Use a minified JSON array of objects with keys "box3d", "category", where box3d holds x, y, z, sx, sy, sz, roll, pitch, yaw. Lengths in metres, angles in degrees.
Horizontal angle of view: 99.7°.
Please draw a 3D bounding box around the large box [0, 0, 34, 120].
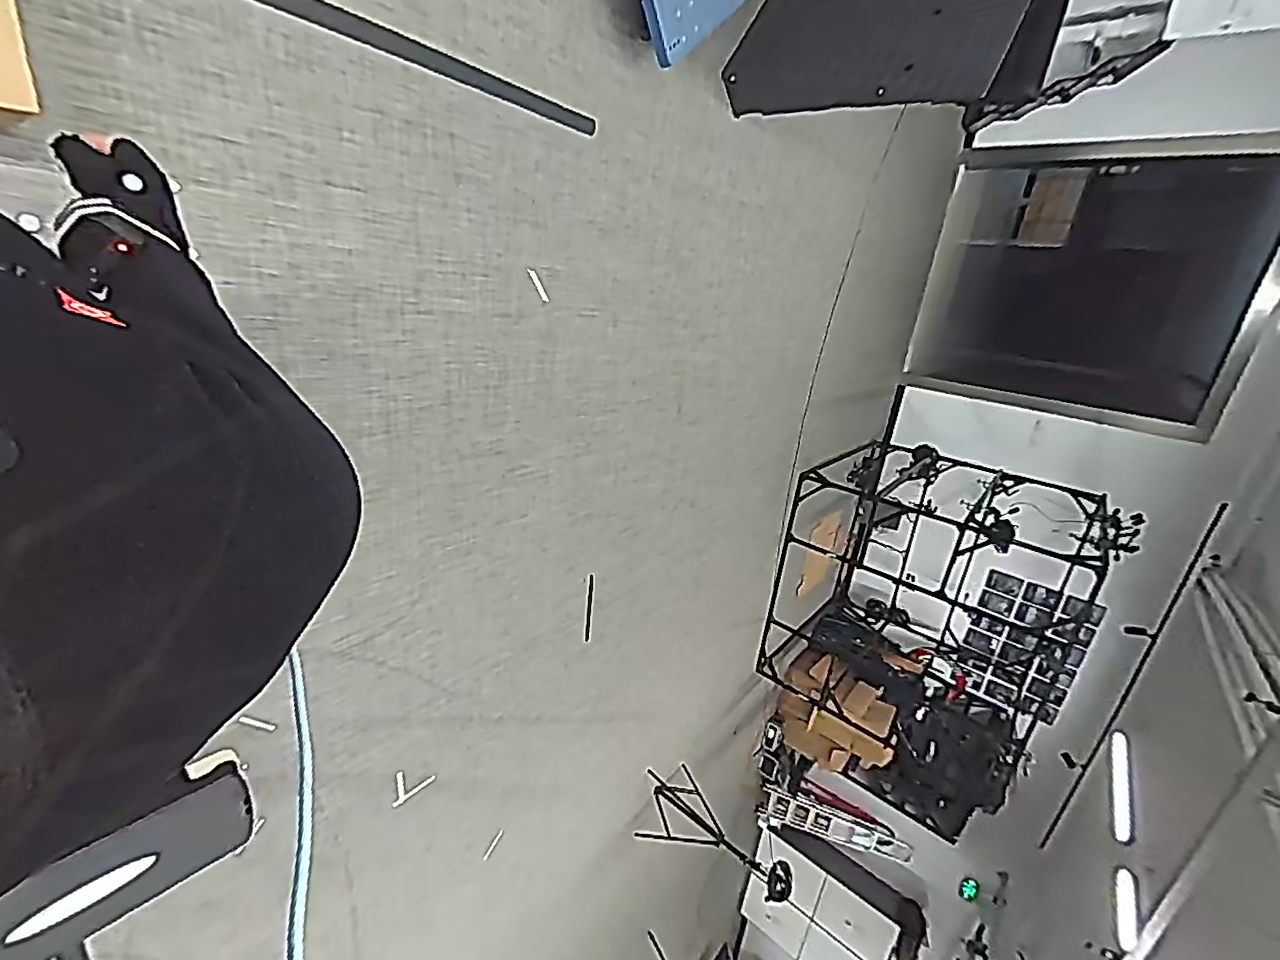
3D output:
[{"box3d":[-1.063,-0.653,0.625,0.408,0.320,0.320,-21,124,-50],"category":"large box"}]
